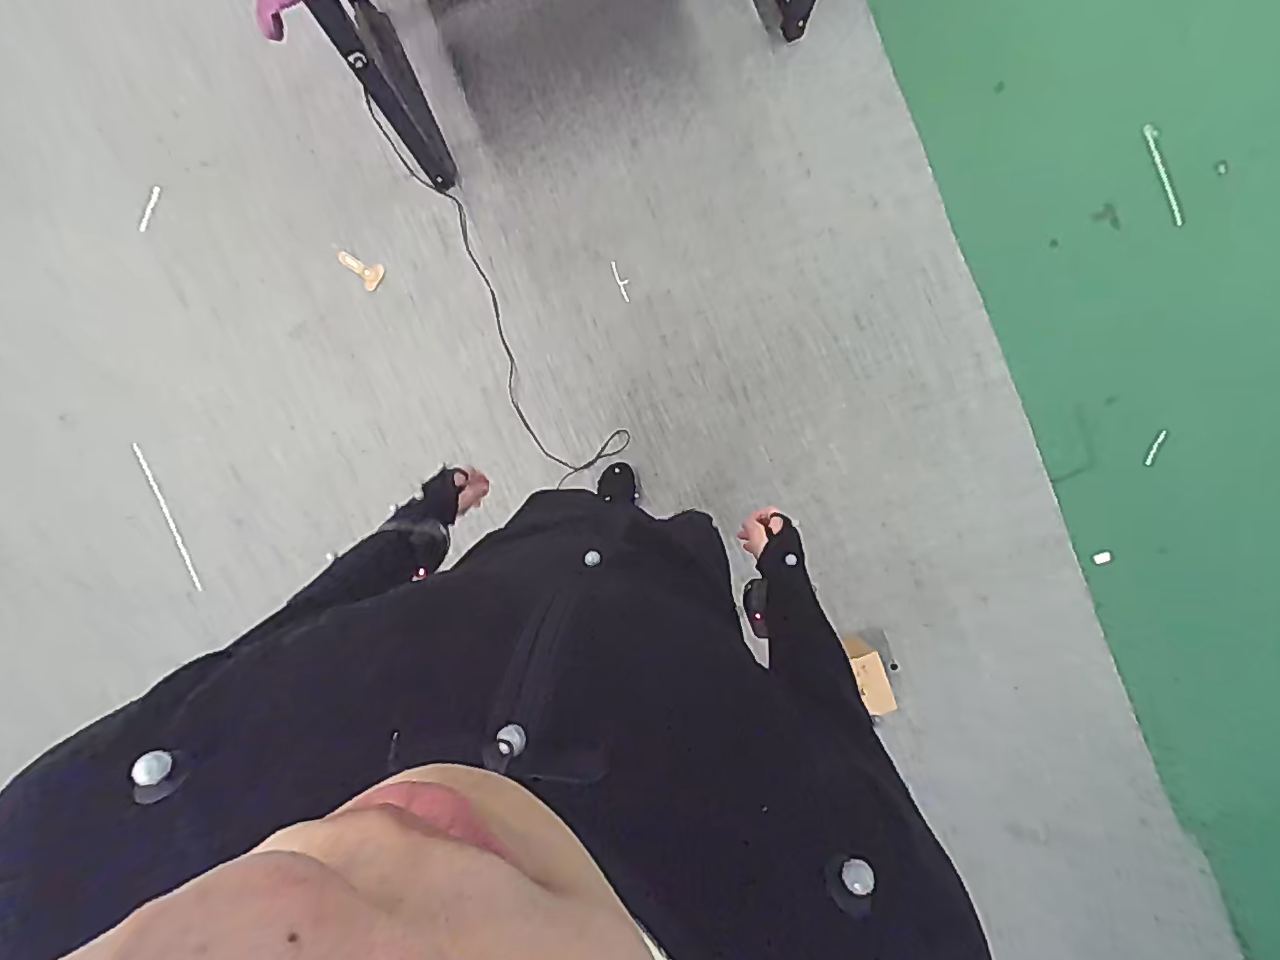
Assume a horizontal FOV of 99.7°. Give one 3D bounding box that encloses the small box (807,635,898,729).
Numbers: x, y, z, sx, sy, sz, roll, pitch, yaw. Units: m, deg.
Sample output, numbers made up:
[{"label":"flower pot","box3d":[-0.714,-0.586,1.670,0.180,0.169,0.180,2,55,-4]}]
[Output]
[{"label":"small box","box3d":[0.606,0.577,1.561,0.168,0.176,0.179,-20,92,0]}]
